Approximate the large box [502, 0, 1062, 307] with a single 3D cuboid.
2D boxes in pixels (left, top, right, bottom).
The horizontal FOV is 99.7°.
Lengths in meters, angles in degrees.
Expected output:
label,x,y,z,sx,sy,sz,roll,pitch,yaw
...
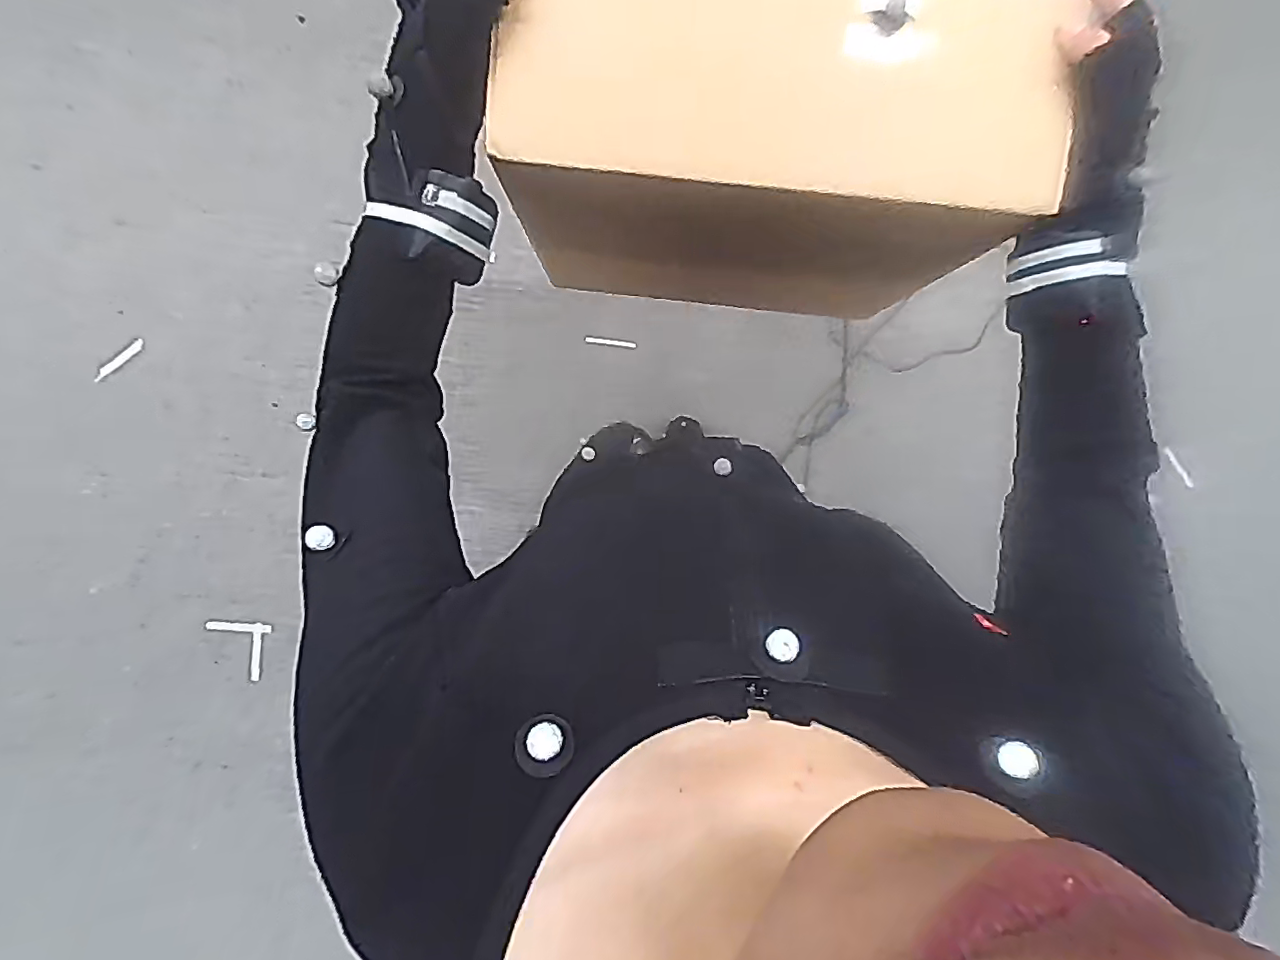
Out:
label,x,y,z,sx,sy,sz,roll,pitch,yaw
large box,0.103,-0.378,0.535,0.408,0.320,0.320,5,94,-1
